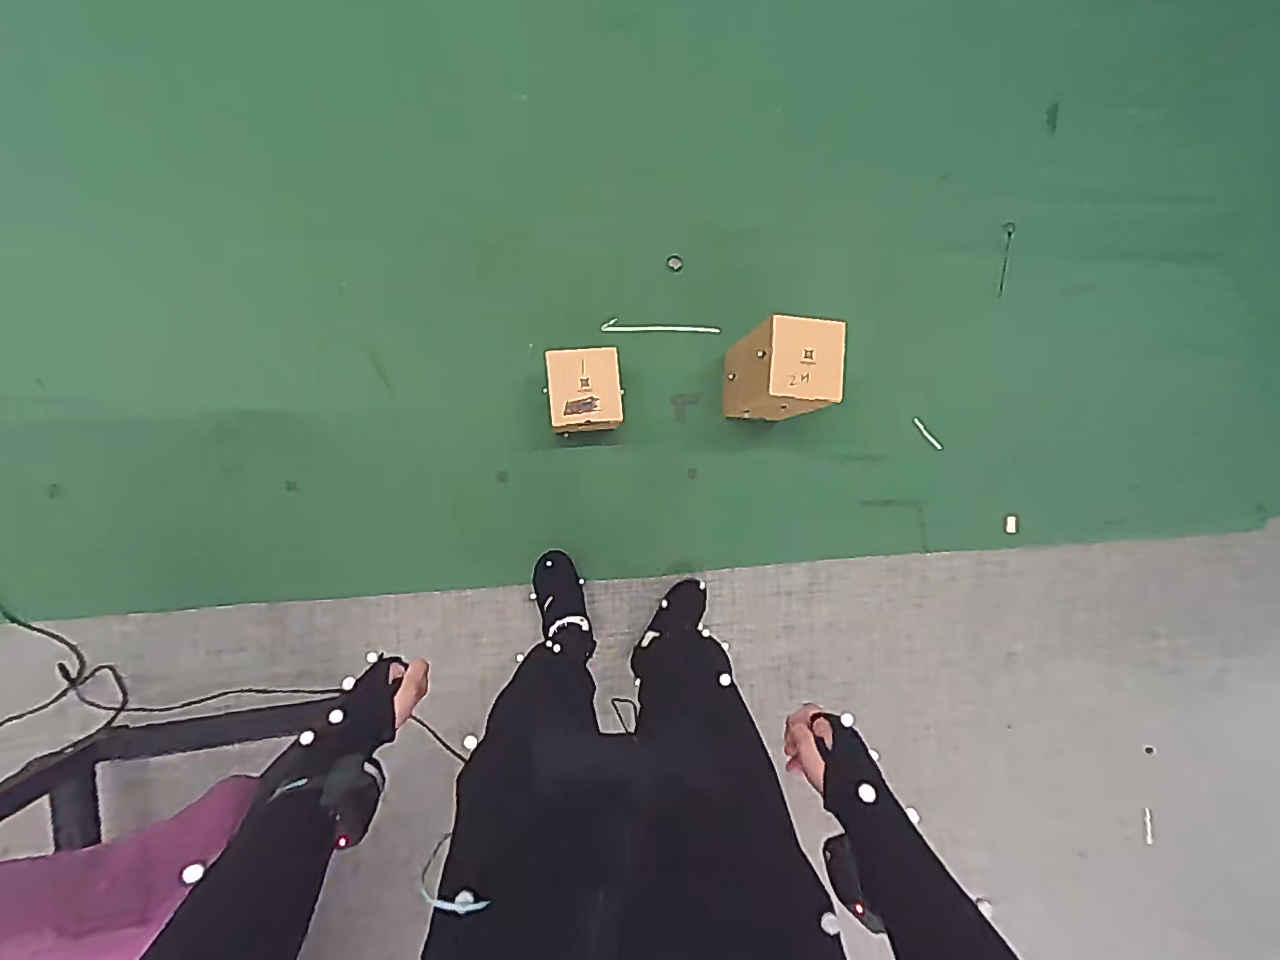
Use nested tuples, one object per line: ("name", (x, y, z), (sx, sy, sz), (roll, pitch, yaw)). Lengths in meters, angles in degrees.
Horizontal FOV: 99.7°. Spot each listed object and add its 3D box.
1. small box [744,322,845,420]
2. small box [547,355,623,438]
("small box", (0.344, -0.240, 1.230), (0.168, 0.176, 0.179), (4, 89, -8))
("small box", (-0.136, -0.197, 1.325), (0.168, 0.176, 0.179), (-5, 89, -8))
